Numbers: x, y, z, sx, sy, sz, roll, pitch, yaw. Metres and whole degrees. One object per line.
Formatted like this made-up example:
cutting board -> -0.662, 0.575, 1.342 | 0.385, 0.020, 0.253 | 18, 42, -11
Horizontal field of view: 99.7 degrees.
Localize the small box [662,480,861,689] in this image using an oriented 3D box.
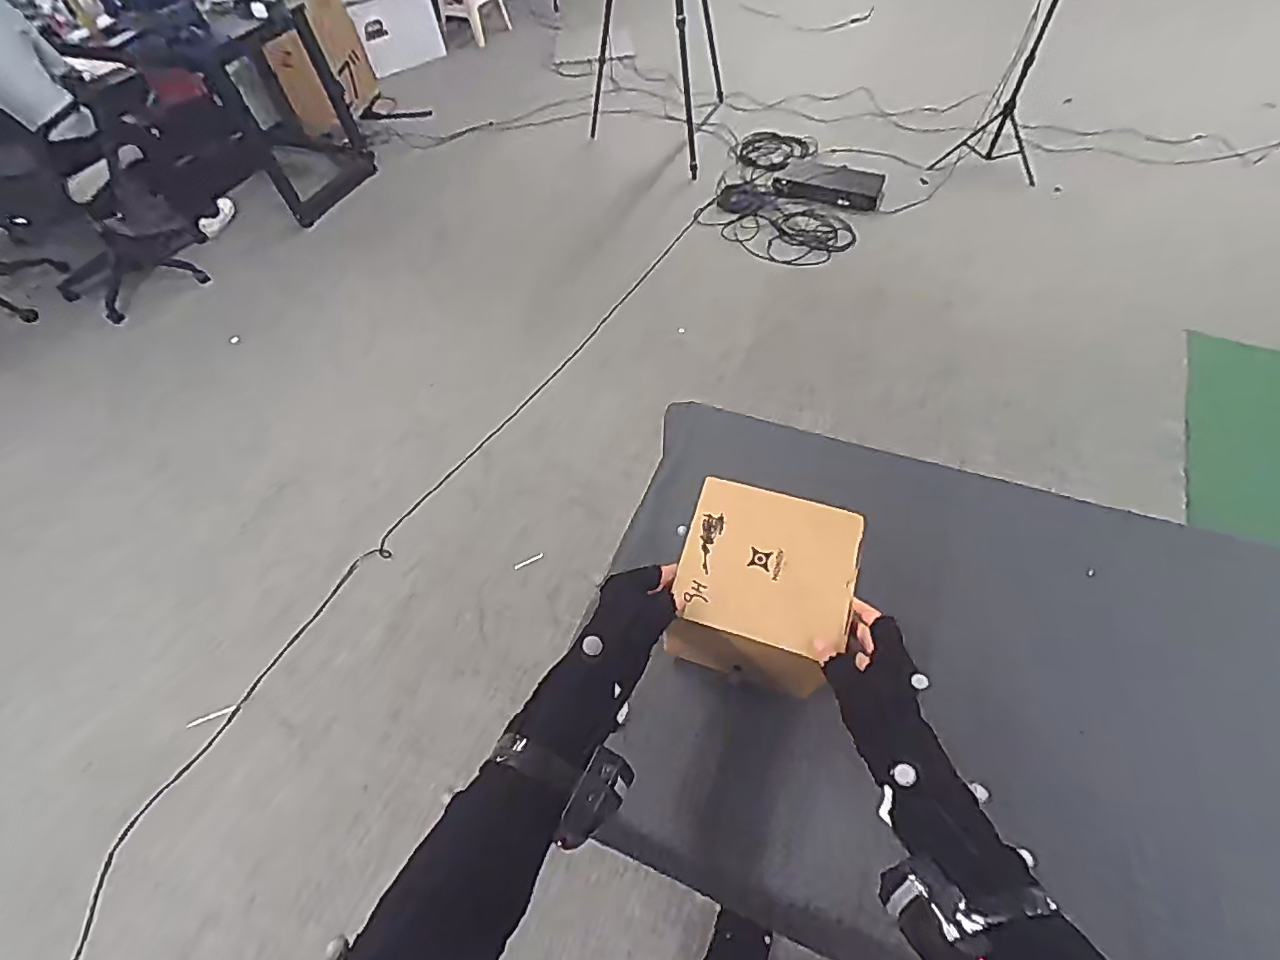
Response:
small box -> 0.132, 0.129, 0.628 | 0.179, 0.176, 0.168 | 16, 61, 11
